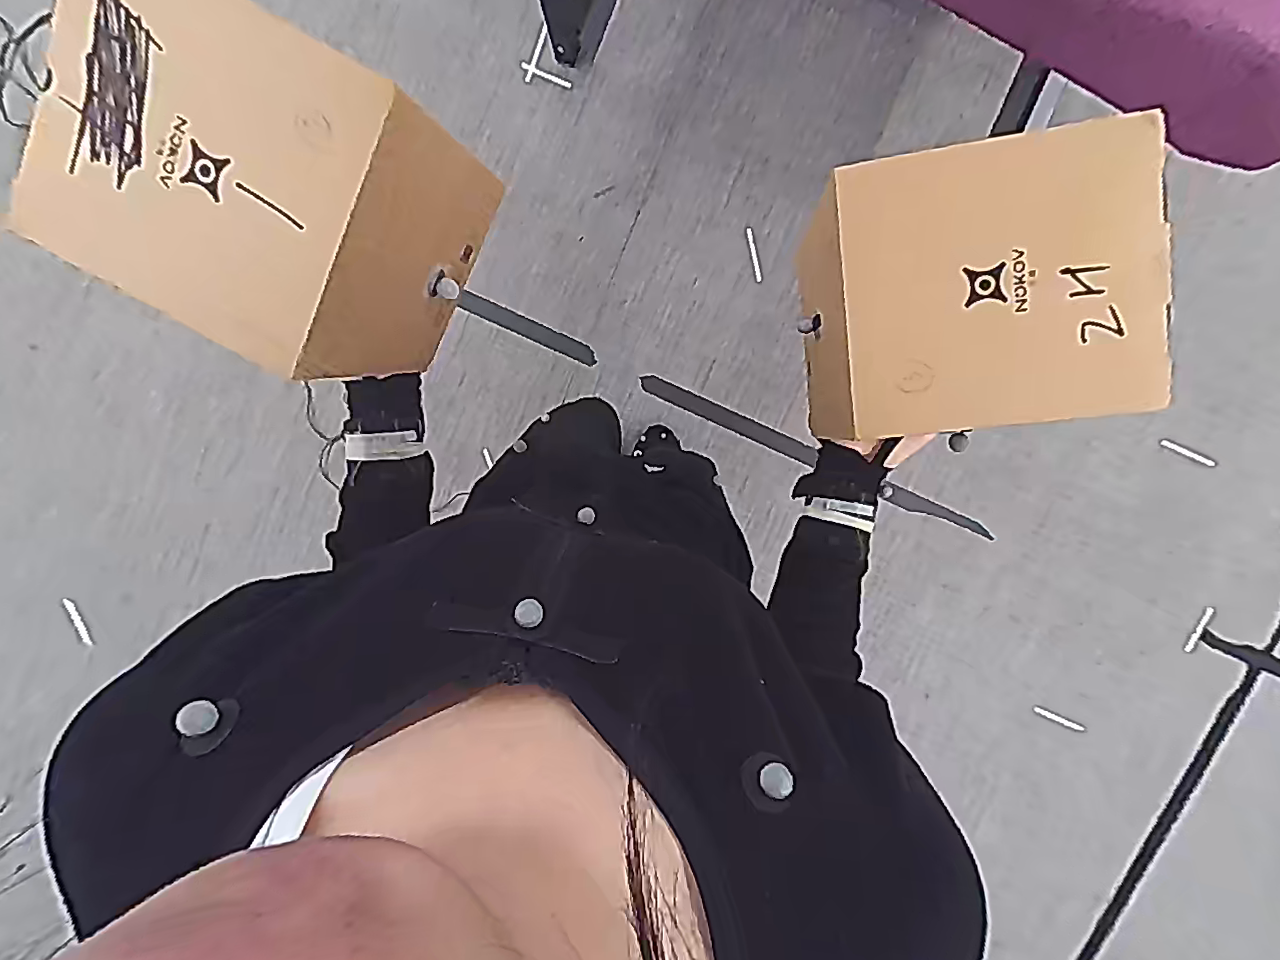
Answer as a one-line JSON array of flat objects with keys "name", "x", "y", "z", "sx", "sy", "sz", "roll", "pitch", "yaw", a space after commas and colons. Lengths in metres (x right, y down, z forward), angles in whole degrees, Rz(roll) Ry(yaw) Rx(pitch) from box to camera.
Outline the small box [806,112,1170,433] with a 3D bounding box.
[{"name": "small box", "x": 0.222, "y": -0.123, "z": 0.396, "sx": 0.179, "sy": 0.176, "sz": 0.168, "roll": -5, "pitch": 95, "yaw": 9}]

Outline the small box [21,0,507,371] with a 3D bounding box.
[{"name": "small box", "x": -0.219, "y": -0.185, "z": 0.359, "sx": 0.179, "sy": 0.176, "sz": 0.168, "roll": 29, "pitch": 104, "yaw": -3}]
